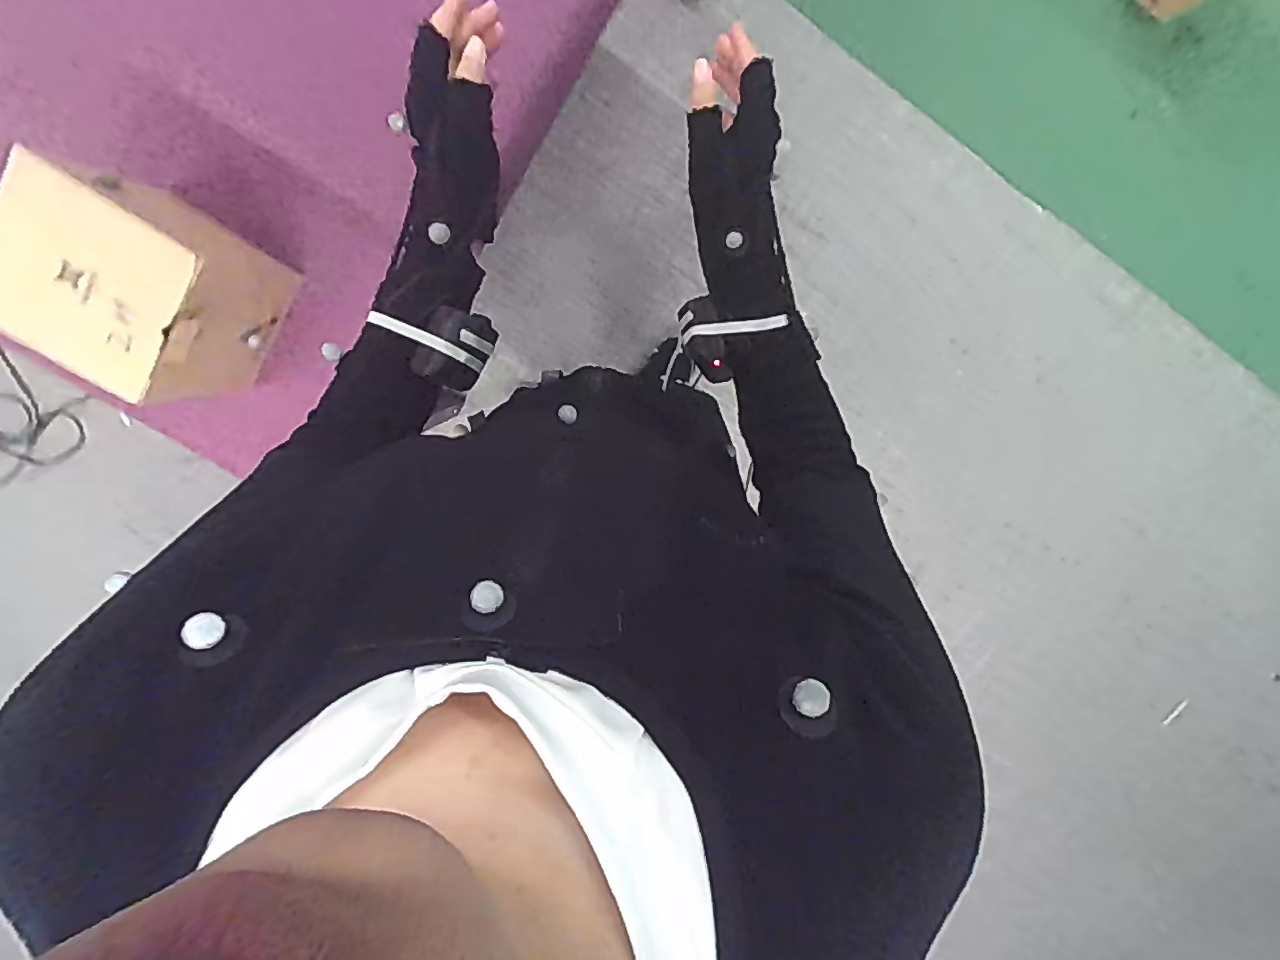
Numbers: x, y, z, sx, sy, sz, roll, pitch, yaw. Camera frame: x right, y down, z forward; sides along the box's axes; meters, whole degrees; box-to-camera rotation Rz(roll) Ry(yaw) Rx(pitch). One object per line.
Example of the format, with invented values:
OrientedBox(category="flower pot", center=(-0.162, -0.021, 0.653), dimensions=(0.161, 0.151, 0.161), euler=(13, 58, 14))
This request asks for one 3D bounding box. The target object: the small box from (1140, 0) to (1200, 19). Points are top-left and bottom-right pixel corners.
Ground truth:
OrientedBox(category="small box", center=(1.192, -1.149, 1.142), dimensions=(0.168, 0.176, 0.179), euler=(32, 102, -9))

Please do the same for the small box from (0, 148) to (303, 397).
OrientedBox(category="small box", center=(-0.525, -0.209, 0.591), dimensions=(0.179, 0.176, 0.168), euler=(32, 102, -9))
